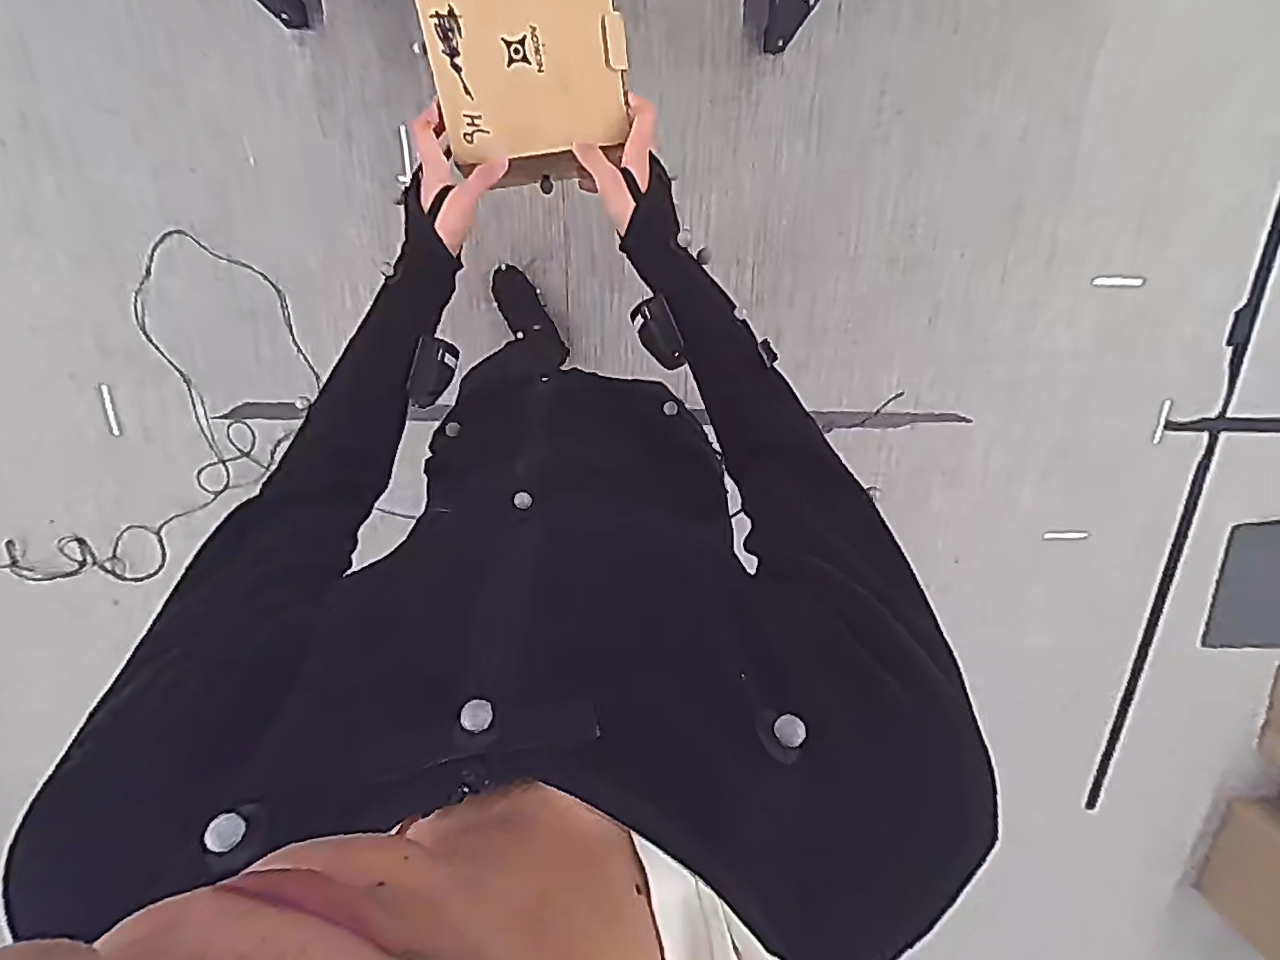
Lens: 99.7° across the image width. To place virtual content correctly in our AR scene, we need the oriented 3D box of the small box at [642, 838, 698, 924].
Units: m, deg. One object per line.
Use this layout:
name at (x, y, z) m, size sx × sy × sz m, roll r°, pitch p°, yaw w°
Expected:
small box at (0.105, 1.357, 1.840) m, size 0.179 × 0.176 × 0.168 m, roll -5°, pitch 108°, yaw -3°

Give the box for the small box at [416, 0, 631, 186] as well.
small box at (-0.117, -0.417, 0.562) m, size 0.179 × 0.176 × 0.168 m, roll -11°, pitch 111°, yaw -6°

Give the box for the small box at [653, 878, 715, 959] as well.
small box at (0.133, 1.383, 1.678) m, size 0.168 × 0.176 × 0.179 m, roll -2°, pitch 107°, yaw -5°
